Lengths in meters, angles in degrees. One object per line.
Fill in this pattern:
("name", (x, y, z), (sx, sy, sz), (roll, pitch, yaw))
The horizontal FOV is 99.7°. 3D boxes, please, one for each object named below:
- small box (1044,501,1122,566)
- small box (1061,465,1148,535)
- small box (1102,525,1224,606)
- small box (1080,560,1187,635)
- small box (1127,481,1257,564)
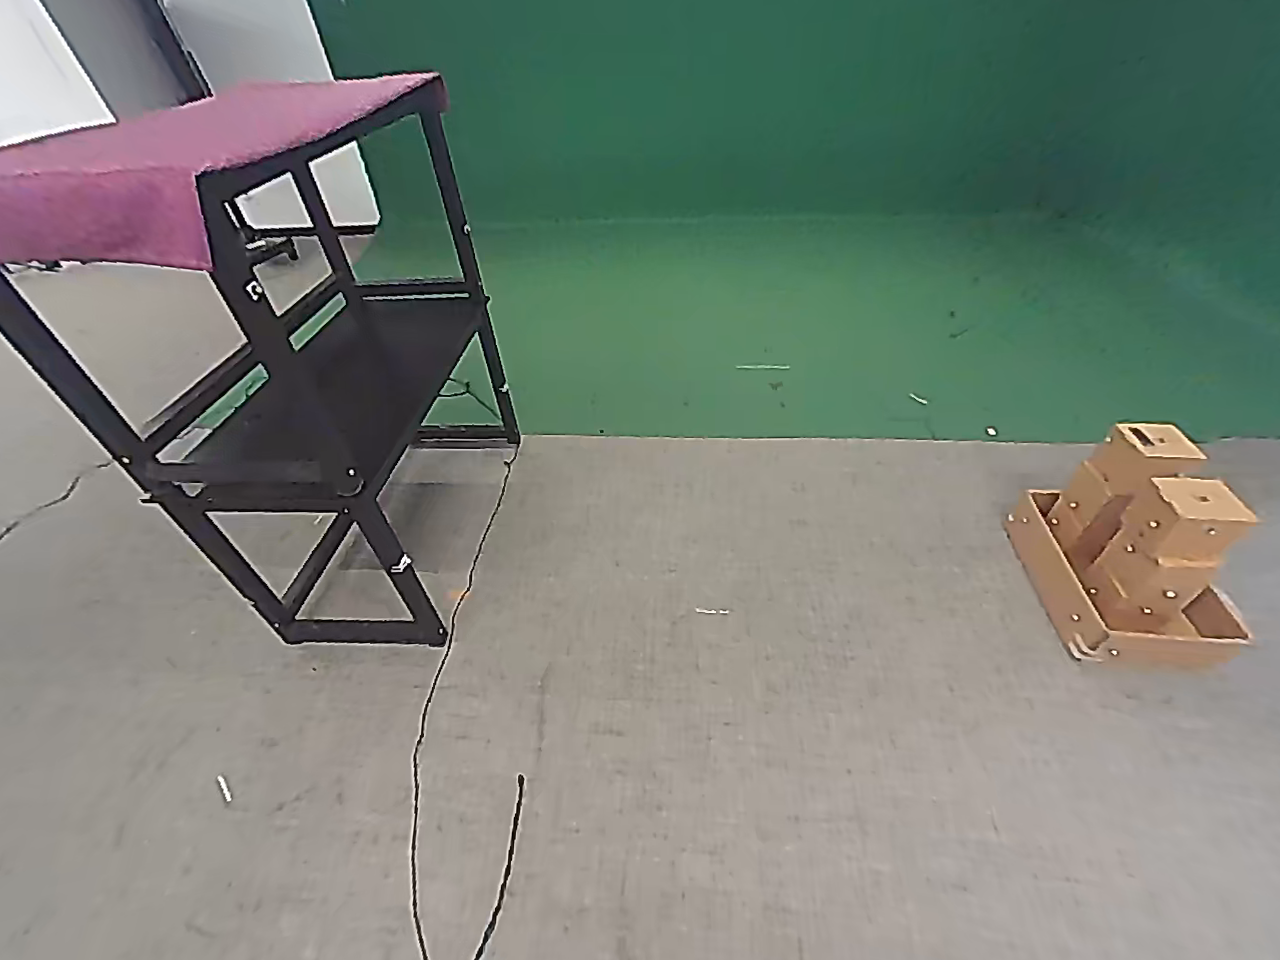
("small box", (1.592, 0.193, 1.934), (0.179, 0.176, 0.168), (1, 43, 7))
("small box", (1.580, 0.070, 1.821), (0.168, 0.176, 0.179), (3, 44, 5))
("small box", (1.549, 0.255, 1.619), (0.168, 0.176, 0.179), (0, 42, 5))
("small box", (1.558, 0.379, 1.728), (0.179, 0.176, 0.168), (4, 42, 8))
("small box", (1.535, 0.122, 1.525), (0.179, 0.176, 0.168), (4, 43, 8))
